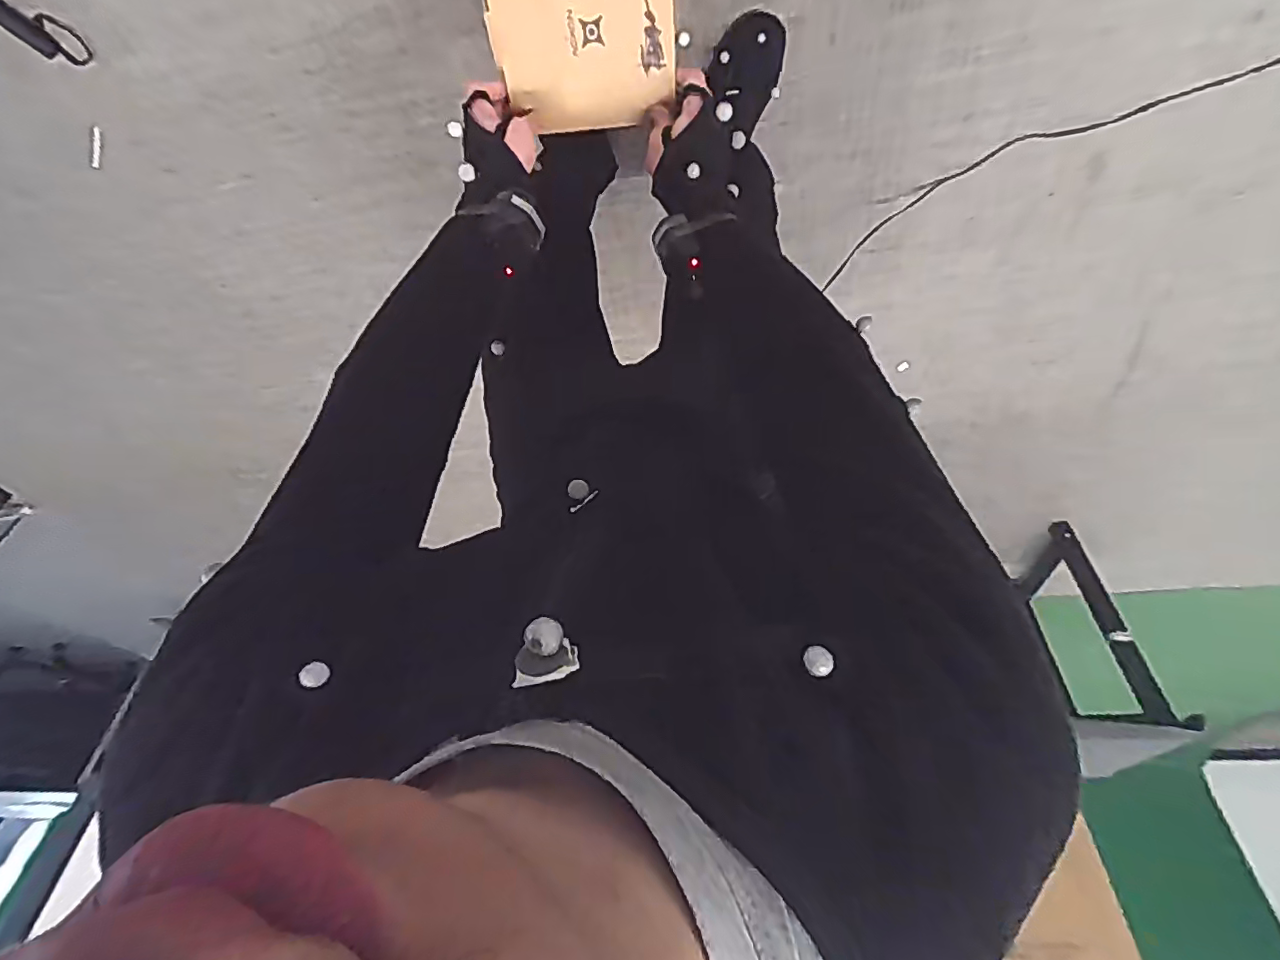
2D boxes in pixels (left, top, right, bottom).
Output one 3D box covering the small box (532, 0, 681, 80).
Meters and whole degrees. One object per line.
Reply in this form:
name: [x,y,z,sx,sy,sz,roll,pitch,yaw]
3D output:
small box: [-0.045,-0.636,0.661,0.168,0.176,0.179,-6,142,13]
